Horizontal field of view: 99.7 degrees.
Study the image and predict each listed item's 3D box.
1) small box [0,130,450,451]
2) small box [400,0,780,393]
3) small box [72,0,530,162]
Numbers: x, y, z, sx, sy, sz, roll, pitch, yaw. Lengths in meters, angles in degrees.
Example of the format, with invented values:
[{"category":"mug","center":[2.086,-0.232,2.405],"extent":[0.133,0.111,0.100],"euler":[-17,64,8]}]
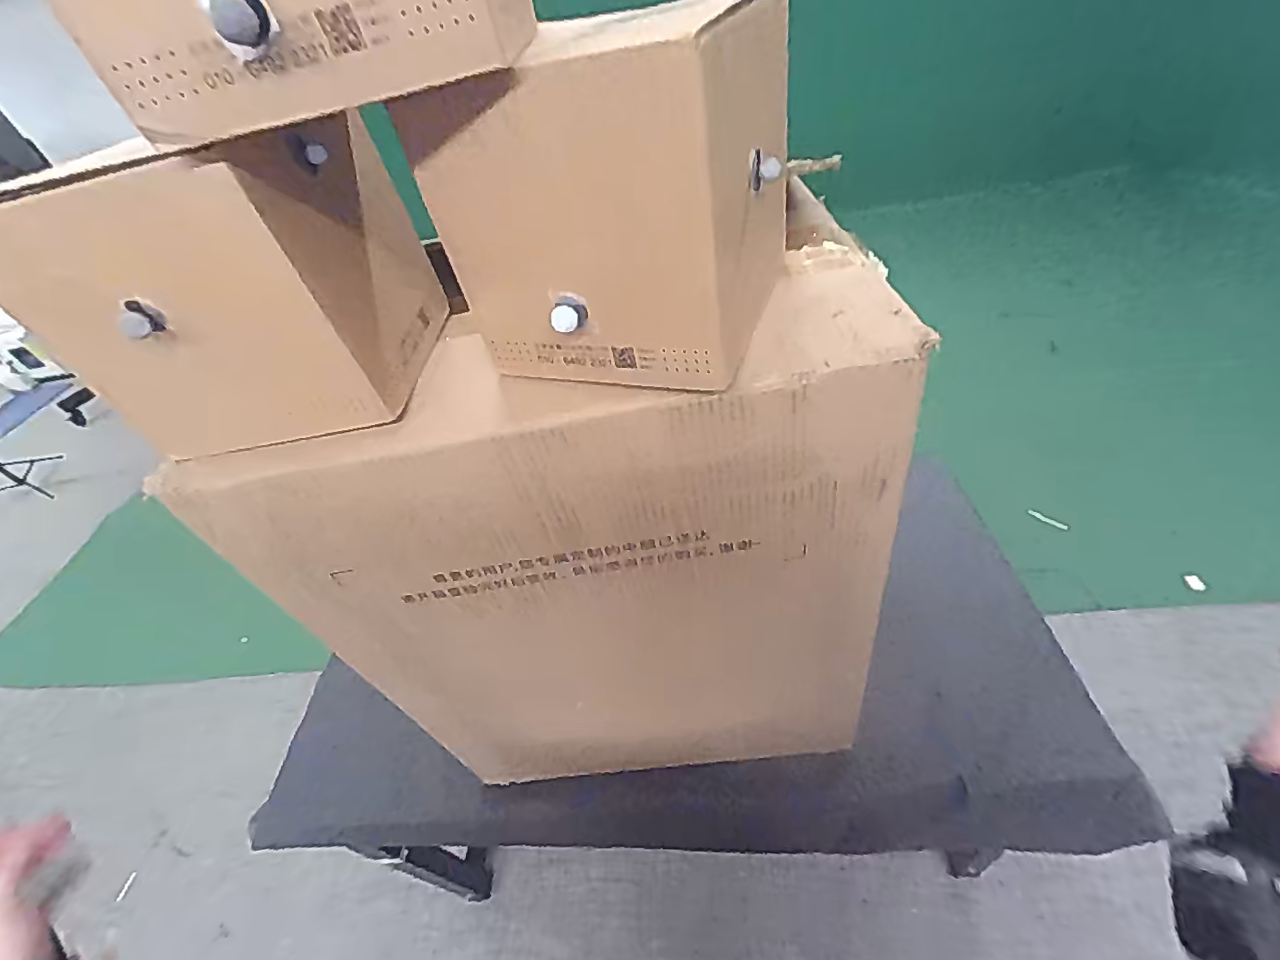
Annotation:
[{"category":"small box","center":[-0.266,-0.139,0.380],"extent":[0.179,0.176,0.168],"euler":[-10,45,7]},{"category":"small box","center":[-0.011,-0.180,0.349],"extent":[0.168,0.176,0.179],"euler":[9,49,23]},{"category":"small box","center":[-0.157,-0.271,0.247],"extent":[0.168,0.176,0.179],"euler":[-12,45,5]}]
